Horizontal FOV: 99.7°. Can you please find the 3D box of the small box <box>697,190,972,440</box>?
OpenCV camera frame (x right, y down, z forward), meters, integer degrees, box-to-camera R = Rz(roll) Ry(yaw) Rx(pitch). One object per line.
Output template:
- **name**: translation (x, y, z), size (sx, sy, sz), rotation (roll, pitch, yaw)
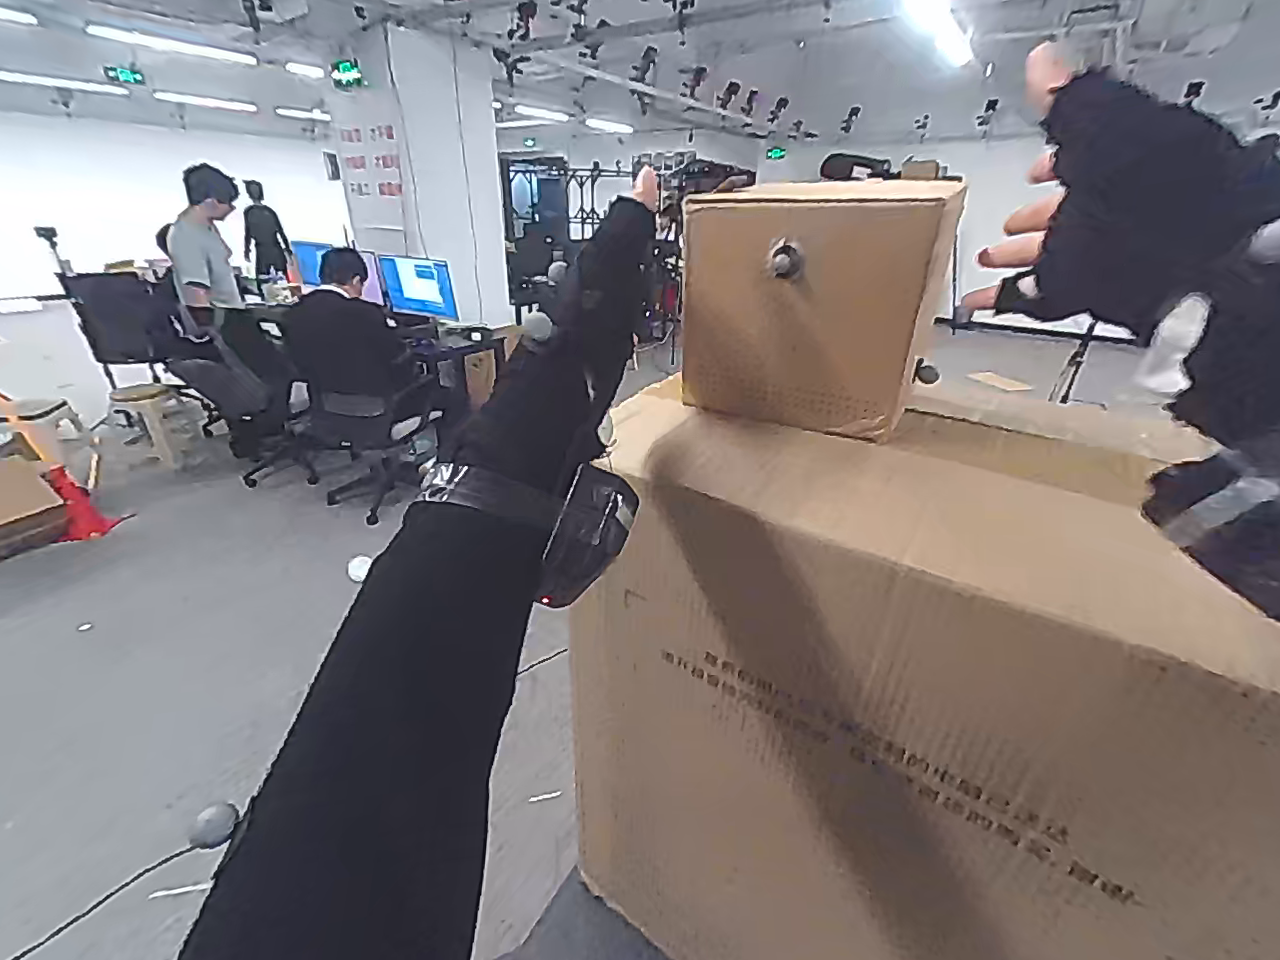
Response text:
- **small box**: translation (0.159, -0.149, 0.465), size (0.179, 0.176, 0.168), rotation (17, 36, 26)
